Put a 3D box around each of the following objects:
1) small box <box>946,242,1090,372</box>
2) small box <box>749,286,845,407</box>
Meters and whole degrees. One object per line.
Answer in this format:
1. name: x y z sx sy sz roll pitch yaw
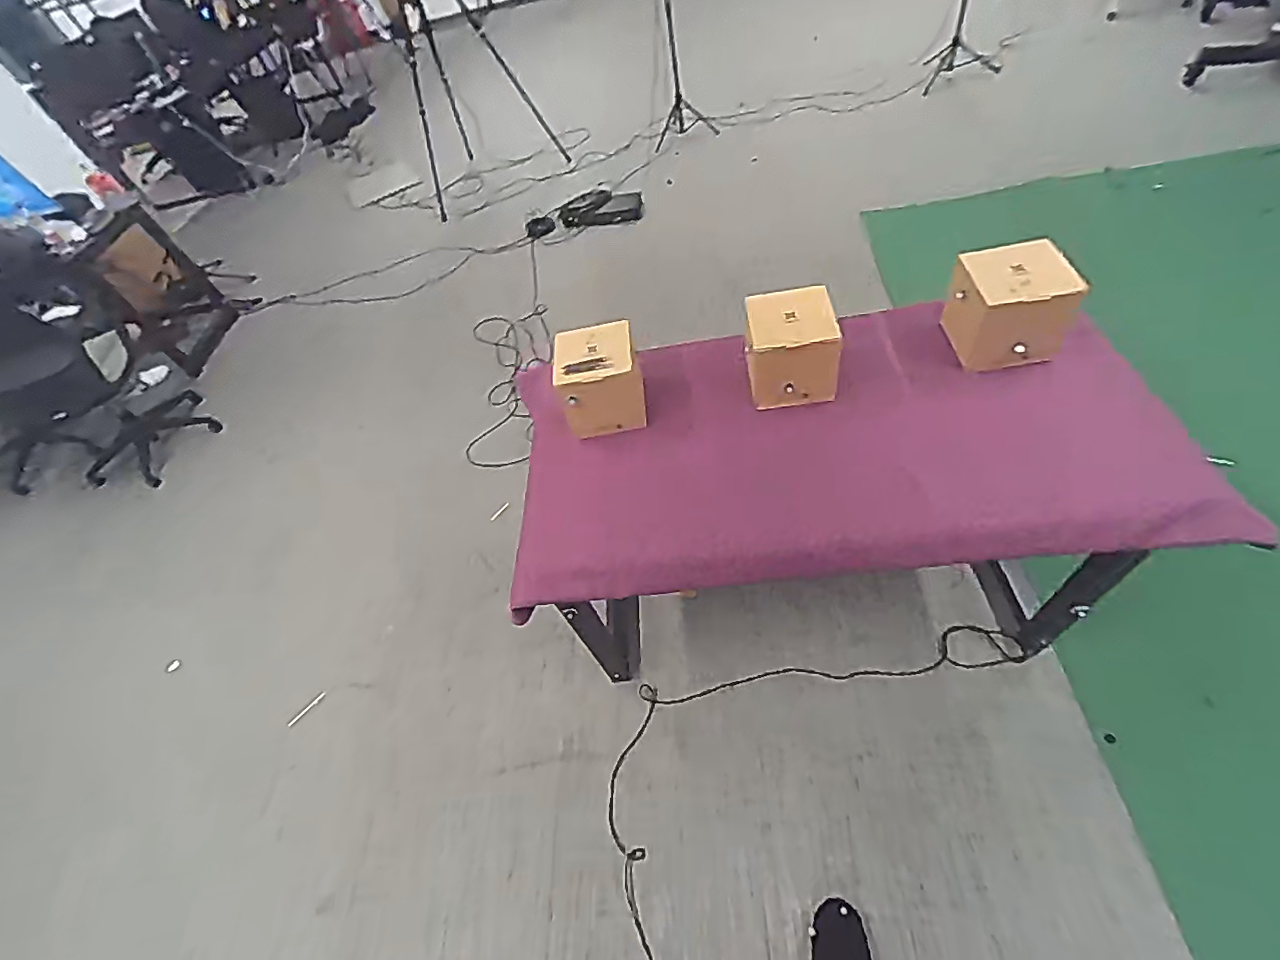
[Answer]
1. small box: 0.741 -0.344 1.087 0.168 0.176 0.179 -7 53 11
2. small box: 0.321 -0.277 1.140 0.168 0.176 0.179 -6 54 8
